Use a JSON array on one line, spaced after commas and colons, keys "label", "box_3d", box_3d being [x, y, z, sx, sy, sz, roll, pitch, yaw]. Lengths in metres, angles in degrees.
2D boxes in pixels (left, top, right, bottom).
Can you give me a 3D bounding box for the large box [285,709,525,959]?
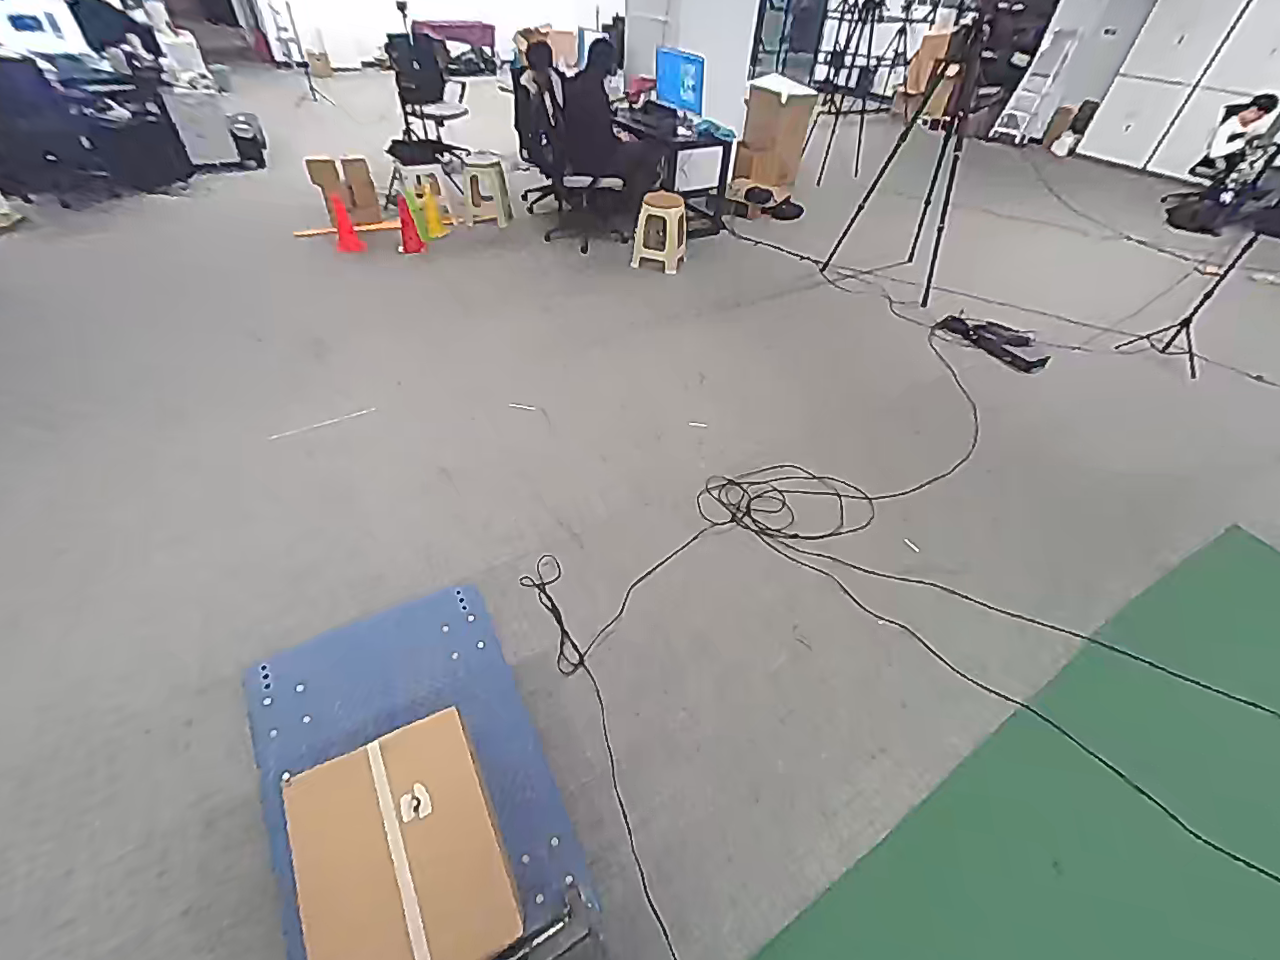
[{"label": "large box", "box_3d": [-0.443, 0.741, 1.068, 0.320, 0.320, 0.408, -17, 61, -23]}]
